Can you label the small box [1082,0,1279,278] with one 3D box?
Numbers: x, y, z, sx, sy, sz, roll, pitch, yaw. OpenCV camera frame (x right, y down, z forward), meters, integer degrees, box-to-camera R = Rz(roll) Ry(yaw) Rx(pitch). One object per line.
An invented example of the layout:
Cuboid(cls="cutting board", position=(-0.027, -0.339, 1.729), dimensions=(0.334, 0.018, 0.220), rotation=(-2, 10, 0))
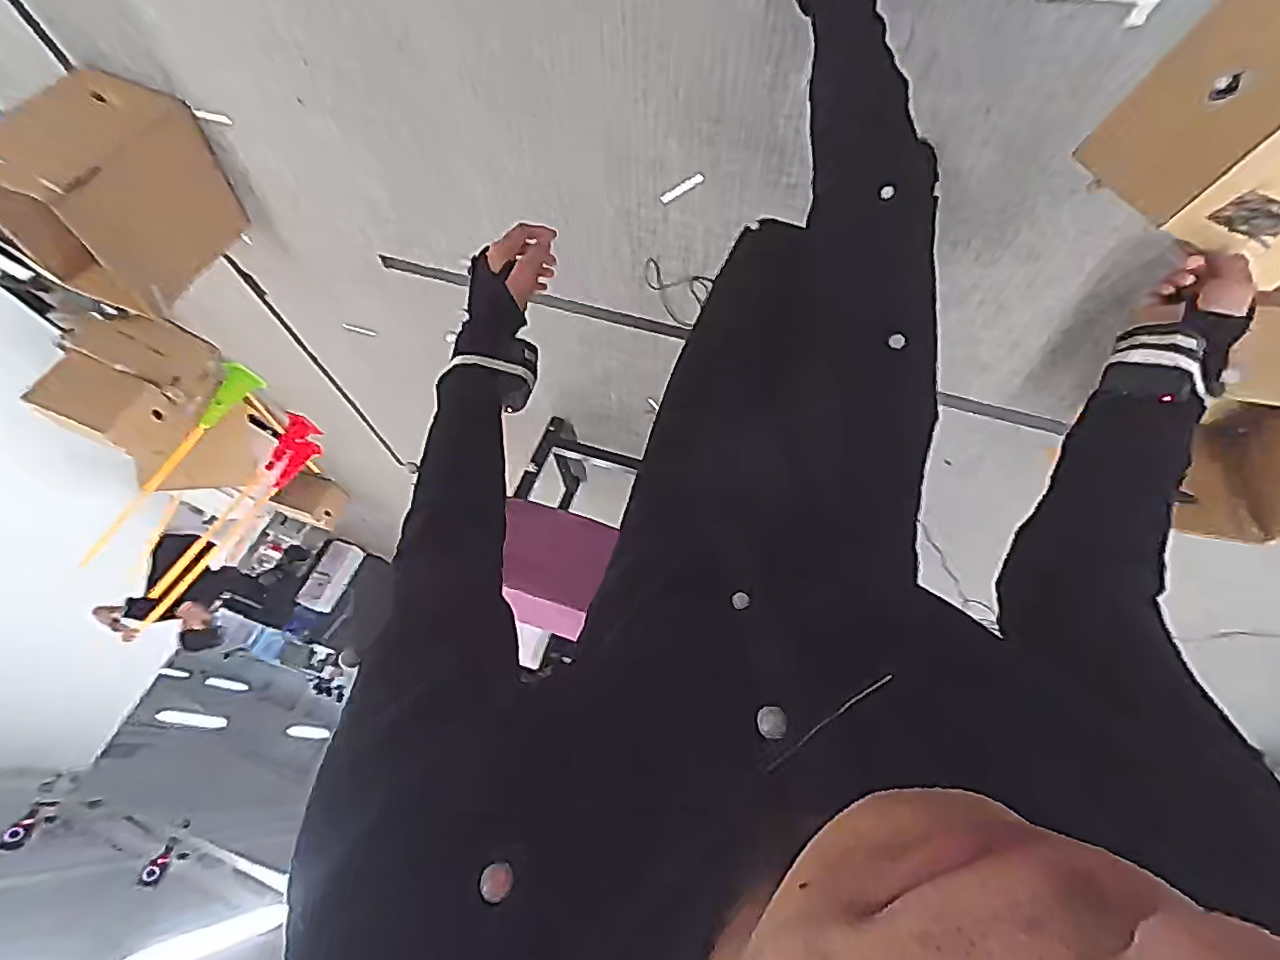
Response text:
Cuboid(cls="small box", position=(0.562, -0.328, 0.495), dimensions=(0.168, 0.176, 0.179), rotation=(14, 137, -17))
